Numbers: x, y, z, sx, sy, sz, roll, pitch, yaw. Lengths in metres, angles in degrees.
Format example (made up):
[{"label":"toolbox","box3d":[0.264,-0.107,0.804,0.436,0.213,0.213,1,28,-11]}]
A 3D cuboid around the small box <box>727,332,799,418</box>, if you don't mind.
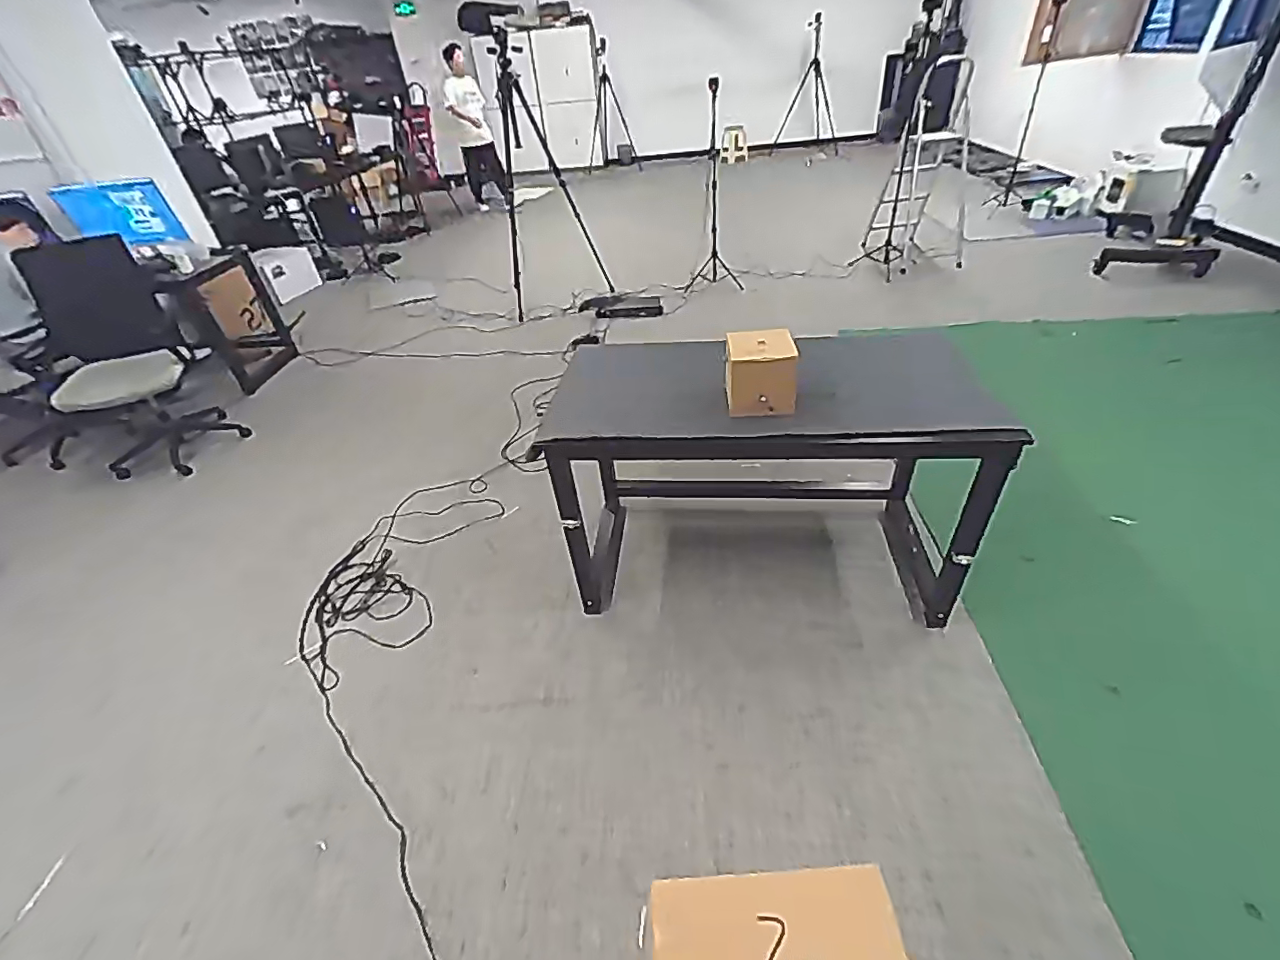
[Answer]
[{"label":"small box","box3d":[0.320,-0.281,1.445,0.168,0.176,0.179,-3,37,6]}]
